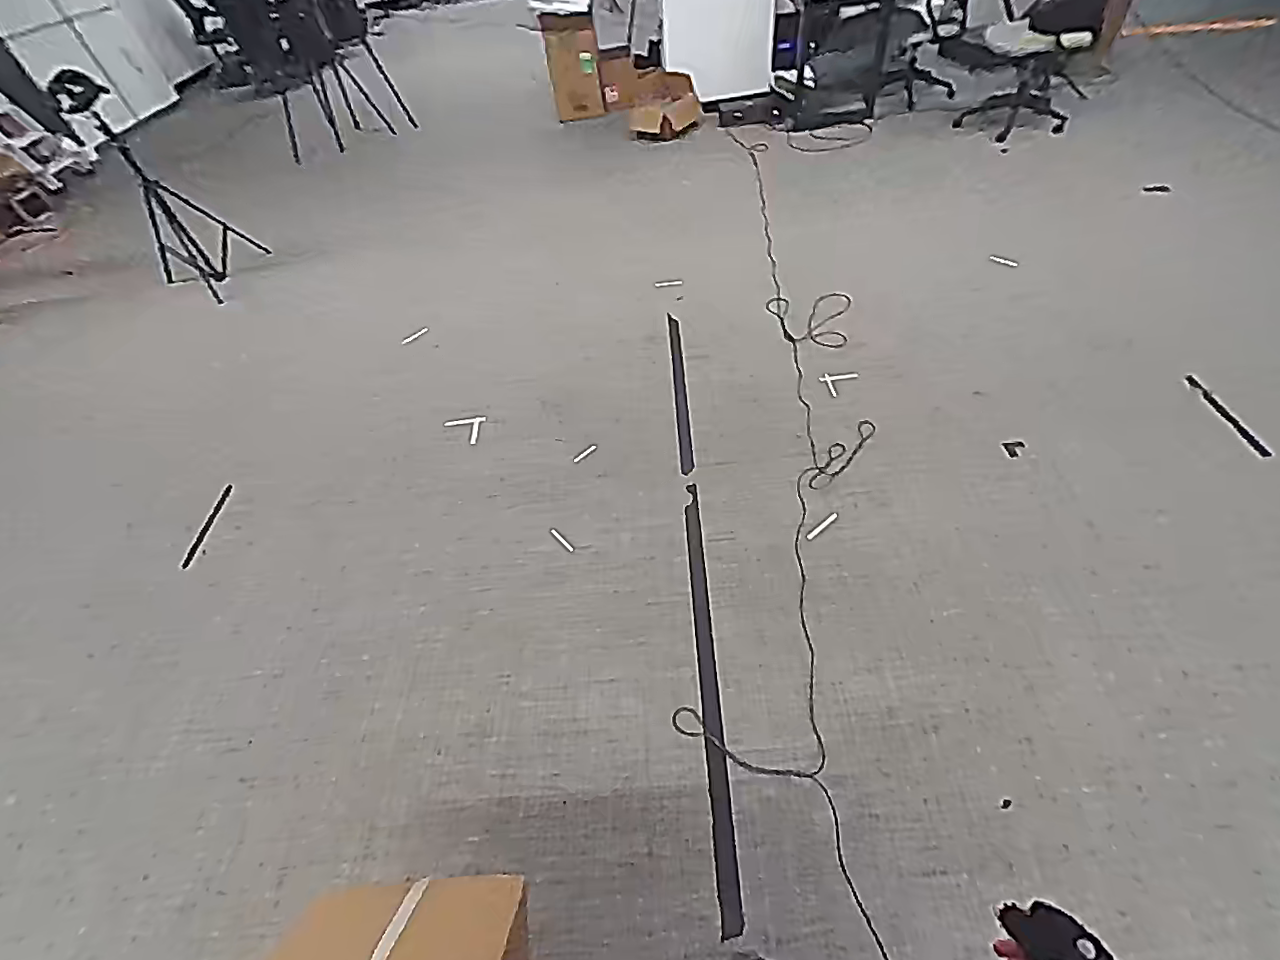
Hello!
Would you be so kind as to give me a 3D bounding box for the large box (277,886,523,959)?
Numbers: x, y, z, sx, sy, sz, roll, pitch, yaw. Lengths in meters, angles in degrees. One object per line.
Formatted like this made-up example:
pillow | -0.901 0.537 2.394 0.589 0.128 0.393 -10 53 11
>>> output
large box | -0.325 0.777 0.639 0.320 0.408 0.320 -4 87 0
